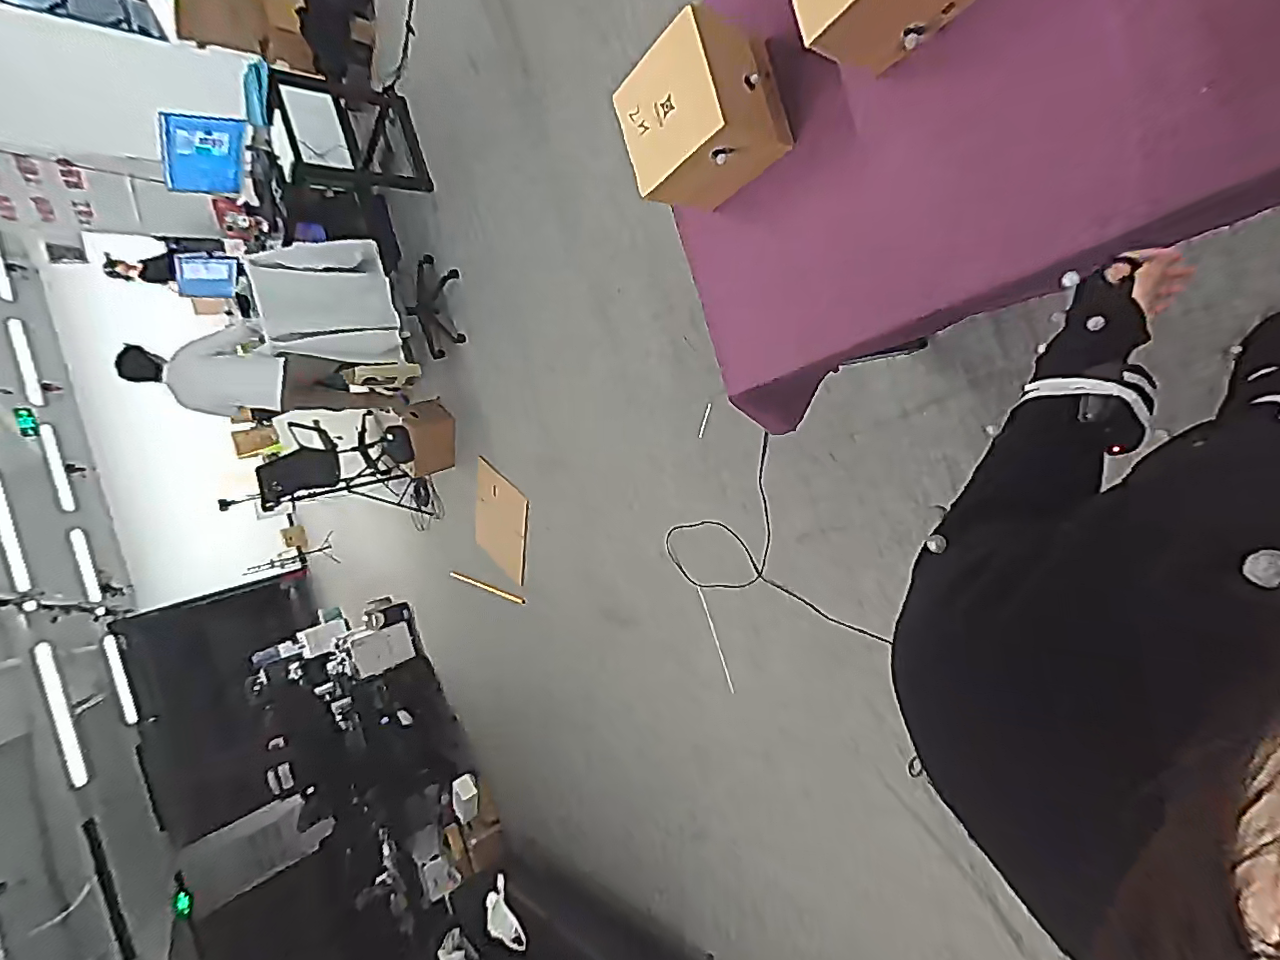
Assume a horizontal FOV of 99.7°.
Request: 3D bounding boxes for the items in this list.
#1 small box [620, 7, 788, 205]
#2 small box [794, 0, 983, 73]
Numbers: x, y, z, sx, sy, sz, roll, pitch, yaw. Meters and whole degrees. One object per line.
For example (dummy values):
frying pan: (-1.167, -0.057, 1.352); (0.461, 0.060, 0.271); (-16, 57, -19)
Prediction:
small box: (0.103, -0.547, 0.822); (0.179, 0.176, 0.168); (-15, 91, 51)
small box: (0.276, -0.605, 0.600); (0.168, 0.176, 0.179); (-15, 92, 52)
